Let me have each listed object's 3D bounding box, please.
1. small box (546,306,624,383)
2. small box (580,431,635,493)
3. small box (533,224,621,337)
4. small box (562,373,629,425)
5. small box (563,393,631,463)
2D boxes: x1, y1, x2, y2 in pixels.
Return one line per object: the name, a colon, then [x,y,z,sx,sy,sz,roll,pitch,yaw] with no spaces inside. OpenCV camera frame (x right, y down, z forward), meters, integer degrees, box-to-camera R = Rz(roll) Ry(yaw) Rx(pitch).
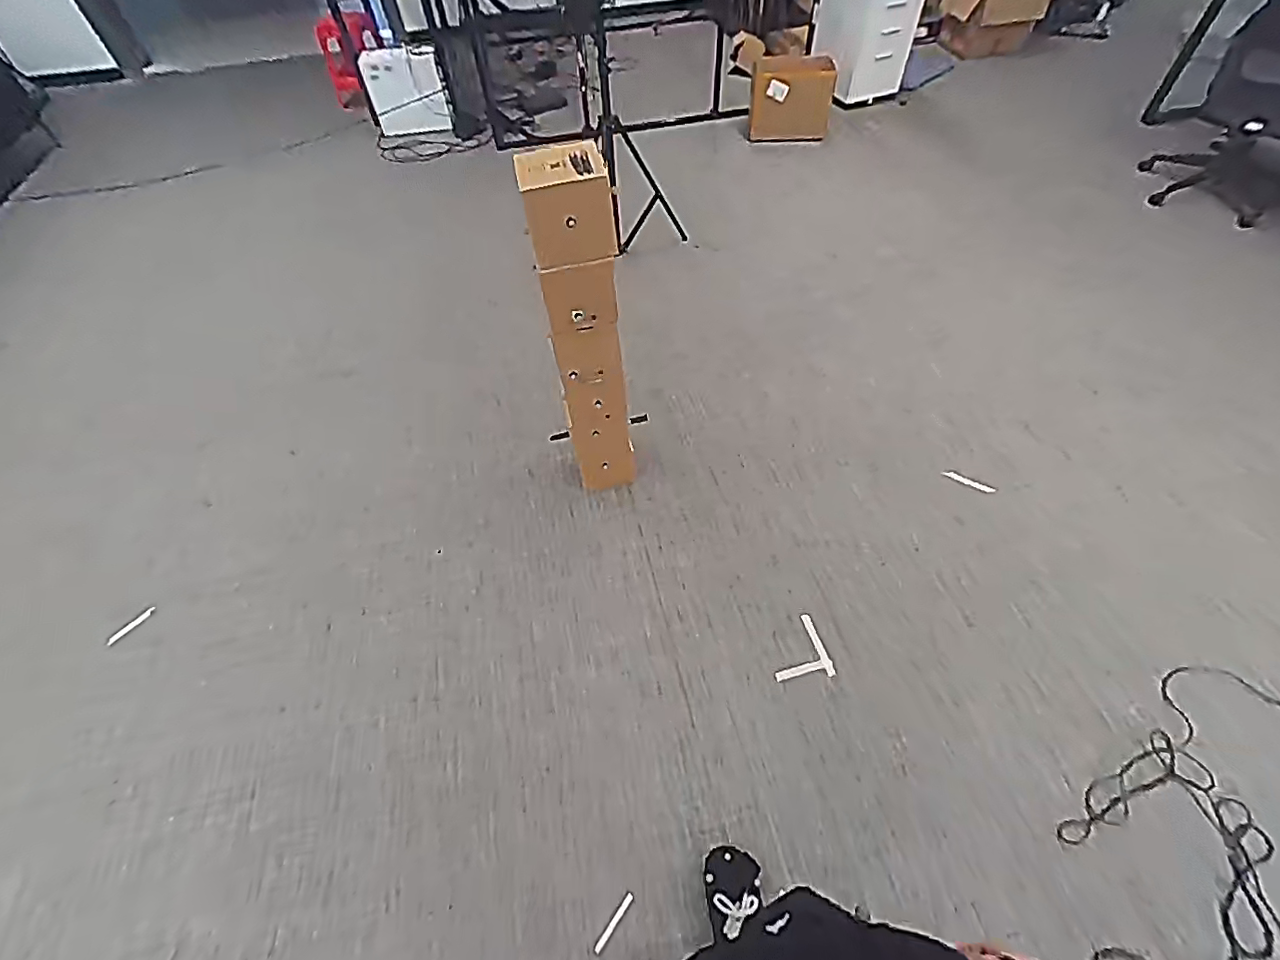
small box: [-0.141,-0.369,1.397,0.168,0.176,0.179,-11,53,-4]
small box: [-0.115,-0.078,1.792,0.179,0.176,0.168,-12,54,-5]
small box: [-0.146,-0.465,1.268,0.168,0.176,0.179,-13,55,-5]
small box: [-0.129,-0.271,1.529,0.168,0.176,0.179,-10,55,-4]
small box: [-0.129,-0.171,1.658,0.179,0.176,0.168,-10,55,-3]
